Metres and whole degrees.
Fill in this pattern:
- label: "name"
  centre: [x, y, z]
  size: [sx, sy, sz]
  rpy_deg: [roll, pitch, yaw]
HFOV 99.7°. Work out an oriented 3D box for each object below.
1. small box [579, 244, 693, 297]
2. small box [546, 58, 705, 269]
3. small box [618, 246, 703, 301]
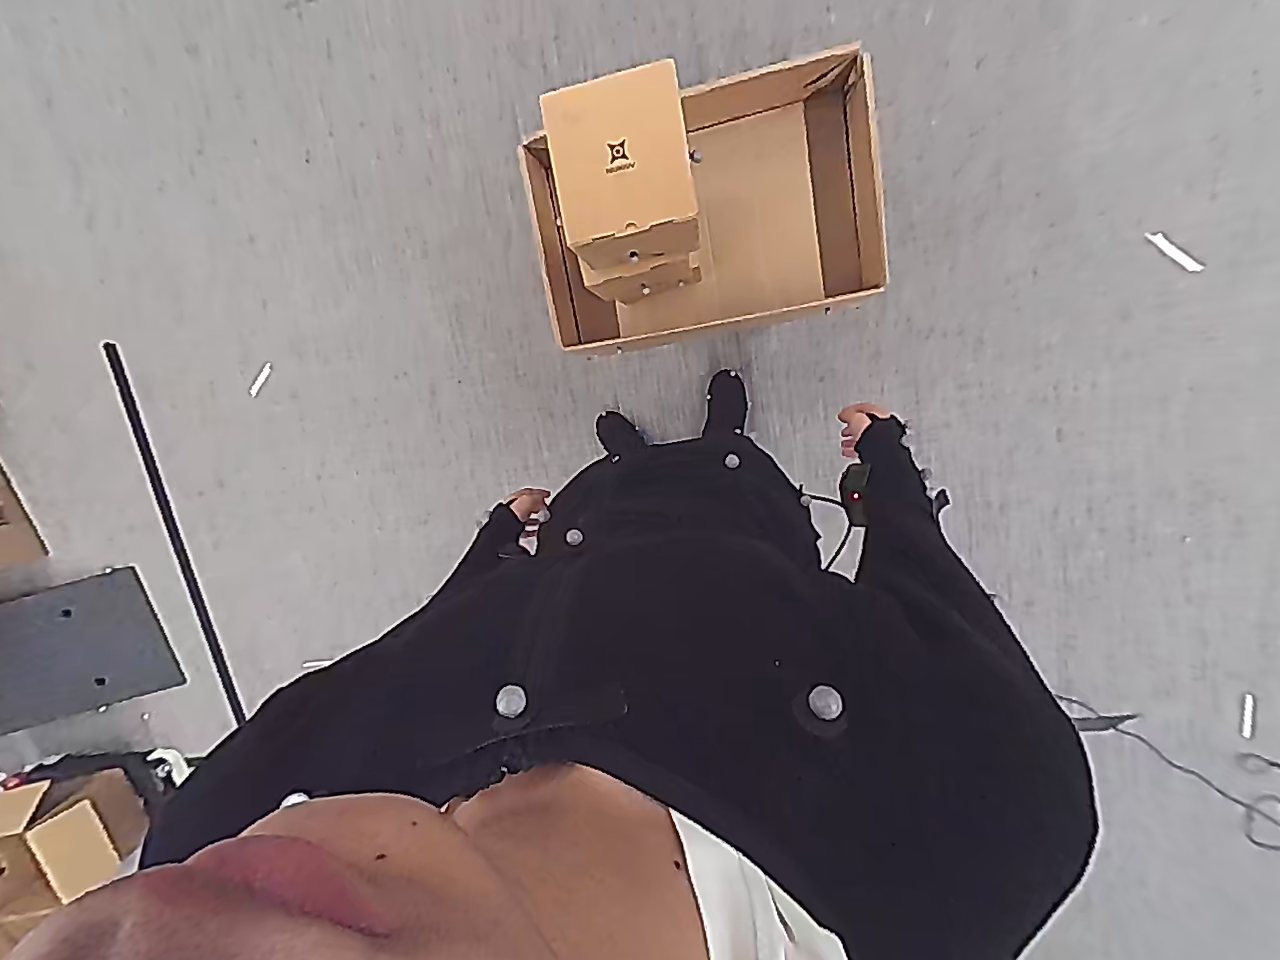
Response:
- label: "small box"
  centre: [-0.011, -0.415, 0.884]
  size: [0.168, 0.176, 0.179]
  rpy_deg: [-13, 100, 10]
- label: "small box"
  centre: [-0.009, -0.401, 0.719]
  size: [0.168, 0.176, 0.179]
  rpy_deg: [-10, 100, 9]
- label: "small box"
  centre: [0.019, -0.457, 1.040]
  size: [0.179, 0.176, 0.168]
  rpy_deg: [-14, 99, 11]
